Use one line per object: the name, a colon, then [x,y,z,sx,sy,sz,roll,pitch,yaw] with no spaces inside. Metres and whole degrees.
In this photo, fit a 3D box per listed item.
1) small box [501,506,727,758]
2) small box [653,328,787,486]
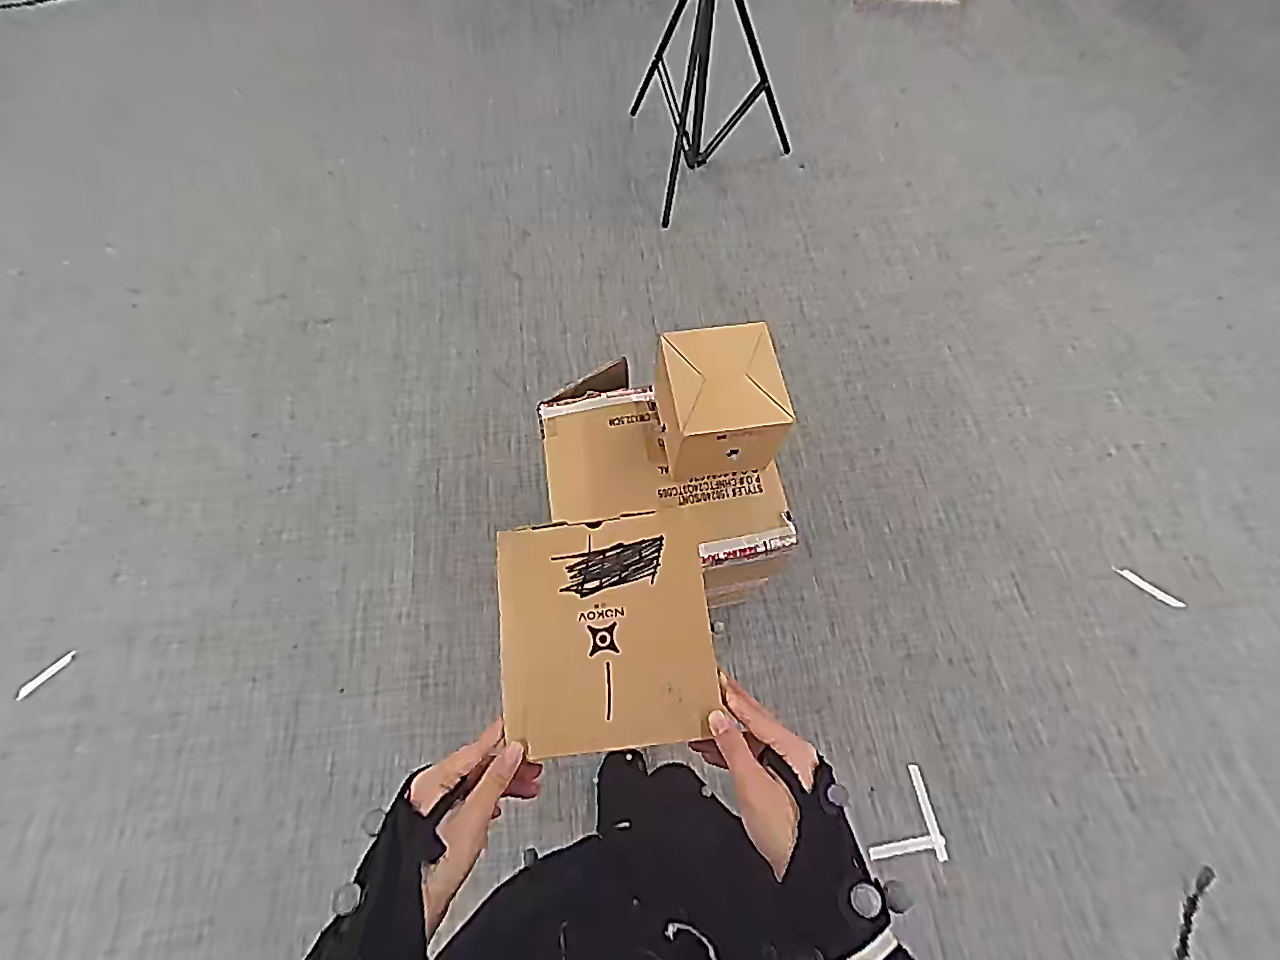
small box: [-0.020,0.138,0.494,0.168,0.176,0.179,-8,72,3]
small box: [0.119,-0.111,0.857,0.168,0.176,0.179,-8,68,-6]
